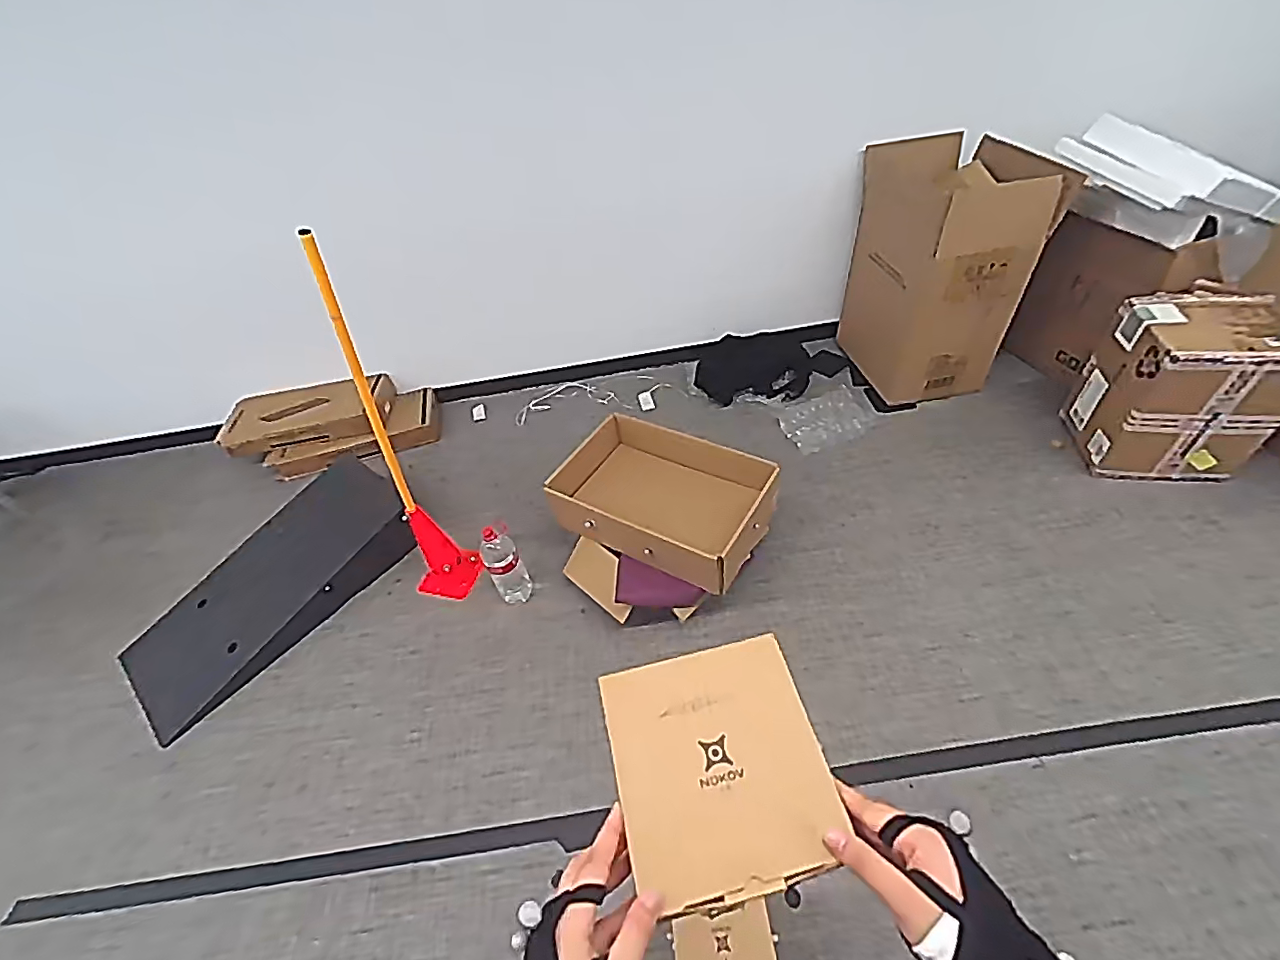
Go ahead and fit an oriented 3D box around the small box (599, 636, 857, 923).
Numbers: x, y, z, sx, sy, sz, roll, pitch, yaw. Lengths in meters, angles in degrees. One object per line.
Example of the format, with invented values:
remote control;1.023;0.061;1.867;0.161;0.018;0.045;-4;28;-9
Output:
small box;0.066;0.273;0.494;0.168;0.176;0.179;-12;50;-6
